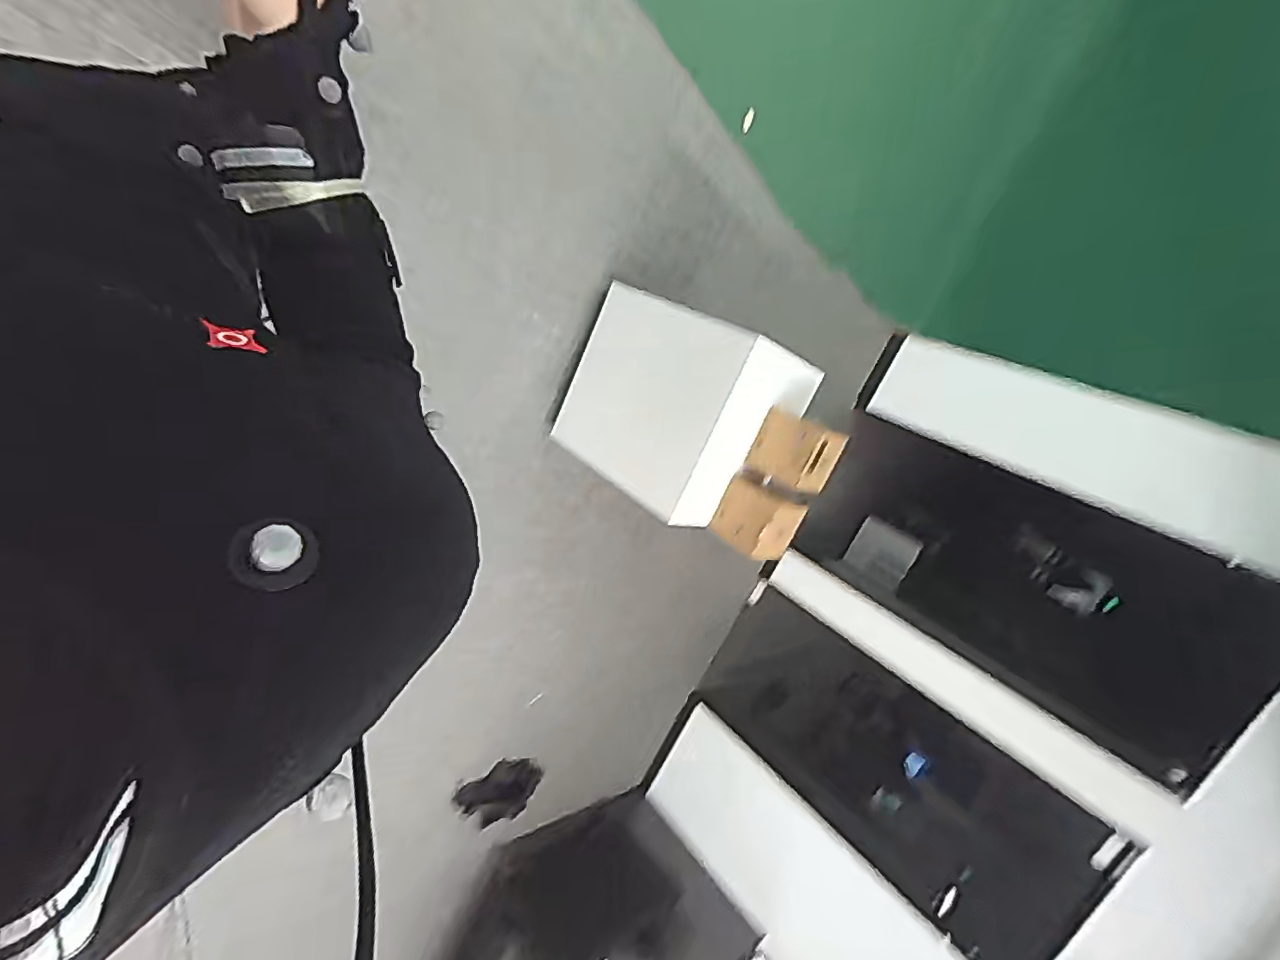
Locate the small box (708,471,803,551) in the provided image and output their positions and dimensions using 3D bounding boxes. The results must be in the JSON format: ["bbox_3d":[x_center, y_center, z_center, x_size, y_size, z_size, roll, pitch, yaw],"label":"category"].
[{"bbox_3d":[0.322,0.086,1.527,0.179,0.176,0.168,7,113,-50],"label":"small box"}]
